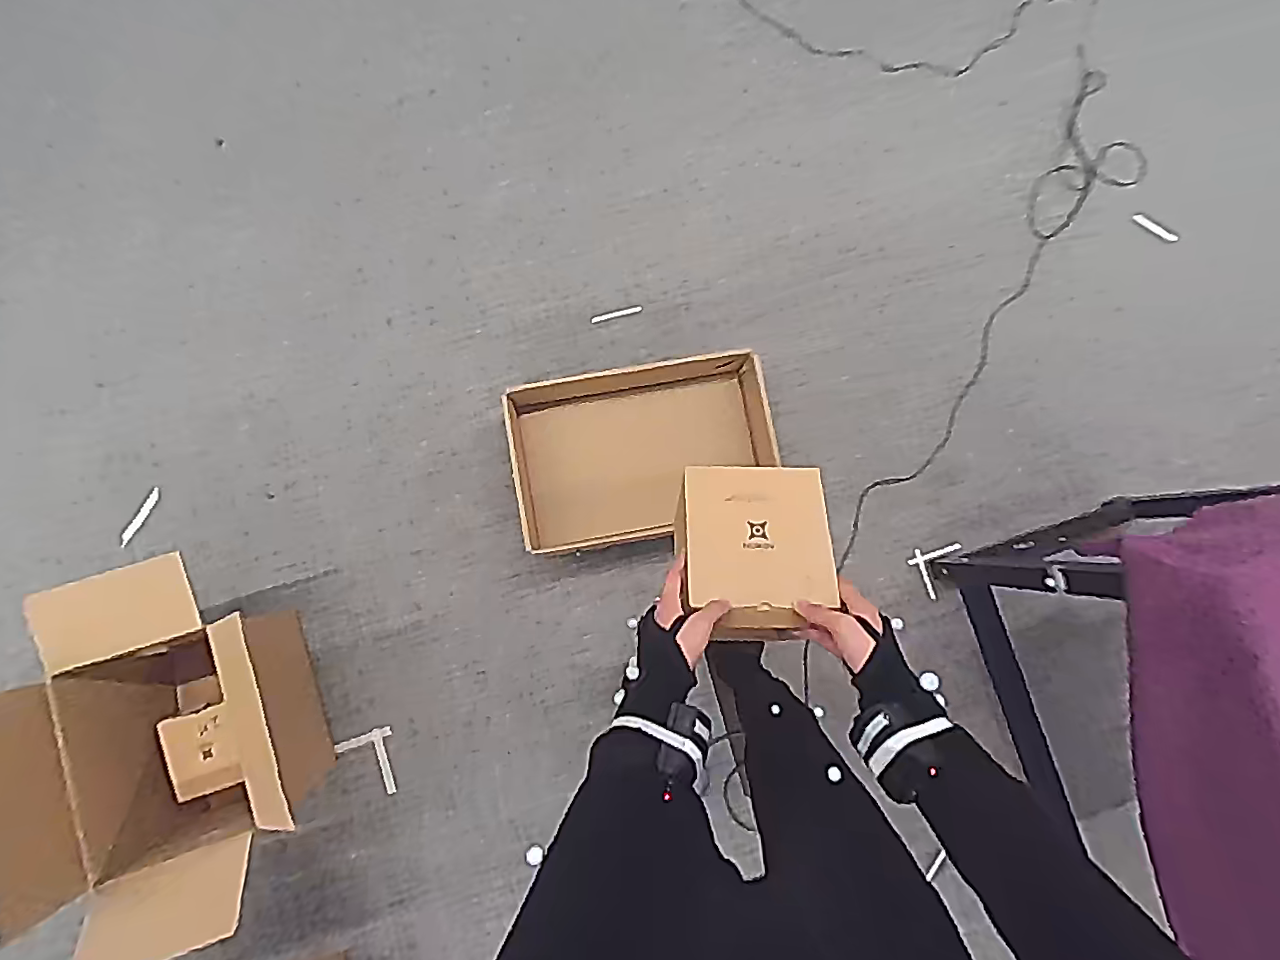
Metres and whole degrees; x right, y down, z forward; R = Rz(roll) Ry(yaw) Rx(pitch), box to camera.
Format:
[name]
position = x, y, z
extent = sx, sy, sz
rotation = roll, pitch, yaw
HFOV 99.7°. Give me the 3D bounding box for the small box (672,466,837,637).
[small box]
position = 0.130, 0.098, 0.687
extent = 0.168, 0.176, 0.179
rotation = 1, 63, -1
